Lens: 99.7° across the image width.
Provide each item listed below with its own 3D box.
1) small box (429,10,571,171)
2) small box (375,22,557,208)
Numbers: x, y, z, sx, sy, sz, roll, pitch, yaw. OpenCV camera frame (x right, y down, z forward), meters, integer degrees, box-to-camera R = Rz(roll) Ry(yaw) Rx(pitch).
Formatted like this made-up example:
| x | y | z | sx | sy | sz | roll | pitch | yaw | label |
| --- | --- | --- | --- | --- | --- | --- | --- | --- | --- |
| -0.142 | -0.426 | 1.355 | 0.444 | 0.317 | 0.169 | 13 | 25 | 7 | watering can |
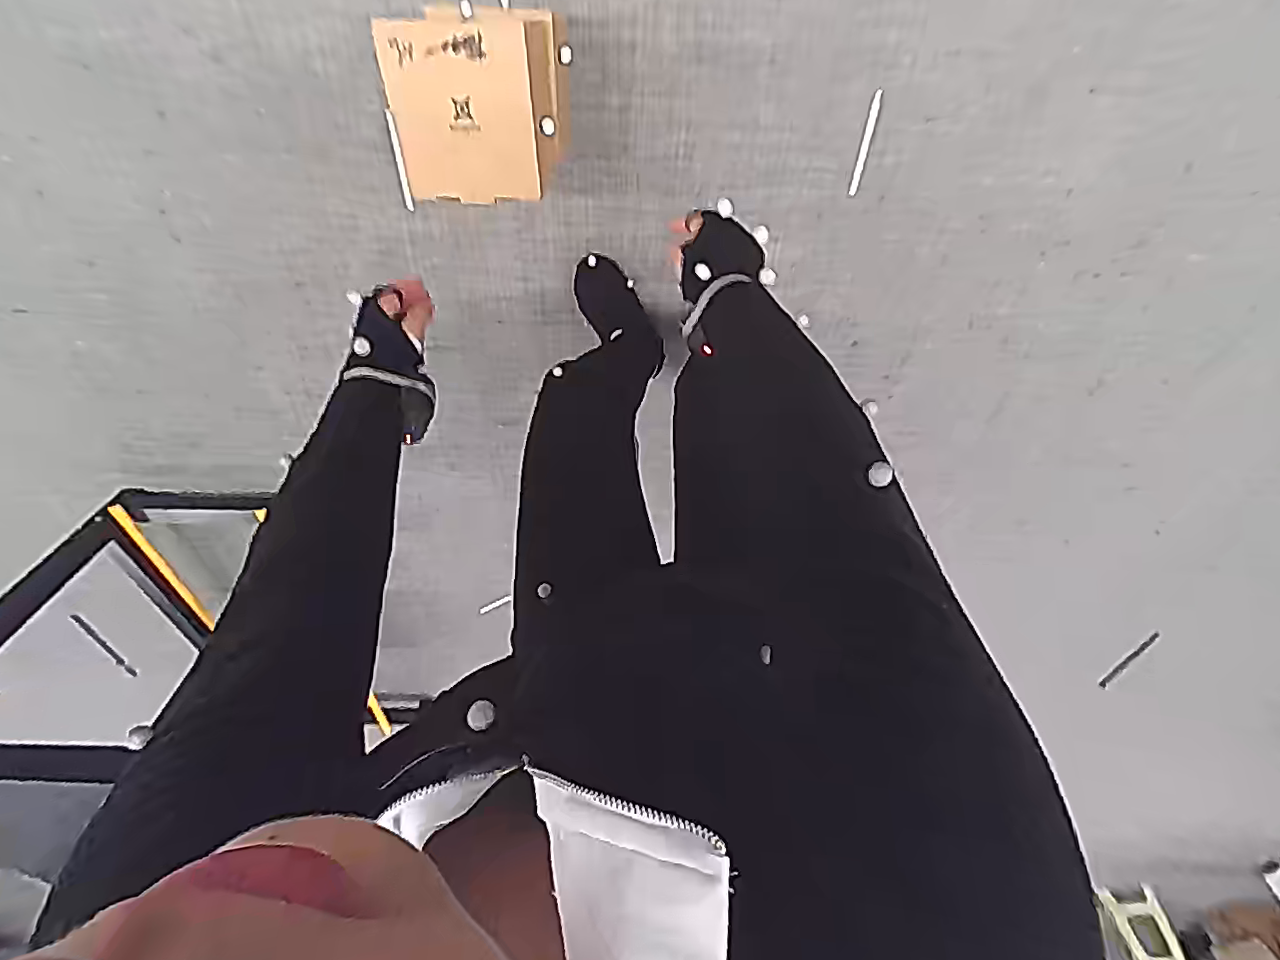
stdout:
| x | y | z | sx | sy | sz | roll | pitch | yaw | label |
| --- | --- | --- | --- | --- | --- | --- | --- | --- | --- |
| -0.195 | -0.582 | 0.811 | 0.168 | 0.176 | 0.179 | 3 | 130 | -1 | small box |
| -0.204 | -0.468 | 0.693 | 0.168 | 0.176 | 0.179 | 1 | 131 | 0 | small box |
